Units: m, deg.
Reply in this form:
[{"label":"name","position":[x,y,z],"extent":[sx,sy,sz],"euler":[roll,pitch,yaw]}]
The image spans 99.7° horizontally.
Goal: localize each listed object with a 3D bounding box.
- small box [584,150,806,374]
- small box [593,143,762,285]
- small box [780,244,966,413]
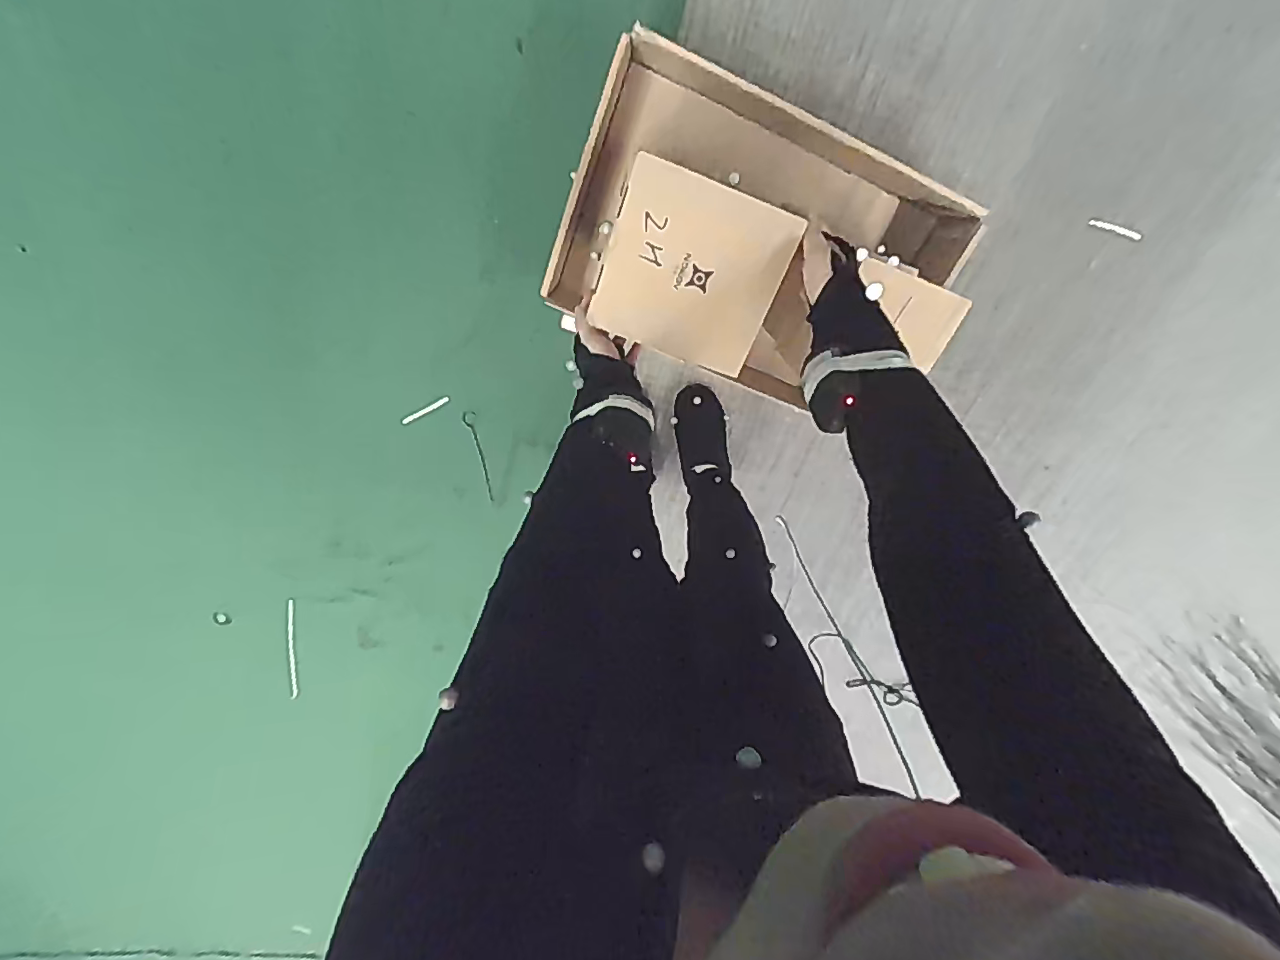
[{"label":"small box","position":[0.051,-0.244,0.604],"extent":[0.179,0.176,0.168],"euler":[19,117,-9]},{"label":"small box","position":[0.041,-0.334,0.747],"extent":[0.168,0.176,0.179],"euler":[19,118,-11]},{"label":"small box","position":[0.325,-0.230,0.803],"extent":[0.168,0.176,0.179],"euler":[18,116,-10]}]
